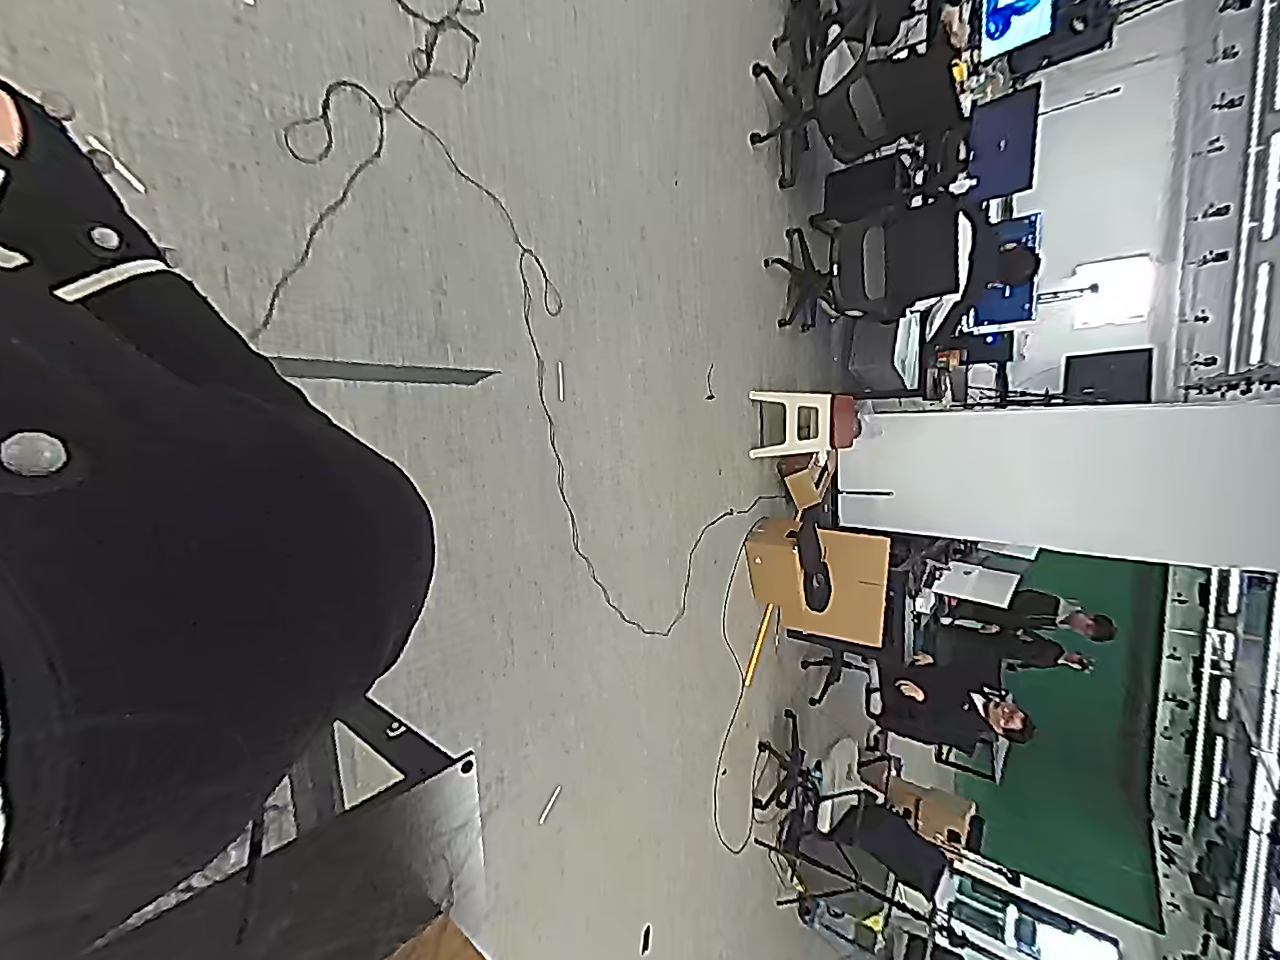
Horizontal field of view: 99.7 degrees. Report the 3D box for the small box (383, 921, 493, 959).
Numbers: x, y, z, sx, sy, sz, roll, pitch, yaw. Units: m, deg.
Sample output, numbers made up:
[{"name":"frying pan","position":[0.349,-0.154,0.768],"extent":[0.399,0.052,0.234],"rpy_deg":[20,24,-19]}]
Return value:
[{"name":"small box","position":[-0.318,0.823,0.815],"extent":[0.168,0.176,0.179],"rpy_deg":[-13,103,-47]}]
